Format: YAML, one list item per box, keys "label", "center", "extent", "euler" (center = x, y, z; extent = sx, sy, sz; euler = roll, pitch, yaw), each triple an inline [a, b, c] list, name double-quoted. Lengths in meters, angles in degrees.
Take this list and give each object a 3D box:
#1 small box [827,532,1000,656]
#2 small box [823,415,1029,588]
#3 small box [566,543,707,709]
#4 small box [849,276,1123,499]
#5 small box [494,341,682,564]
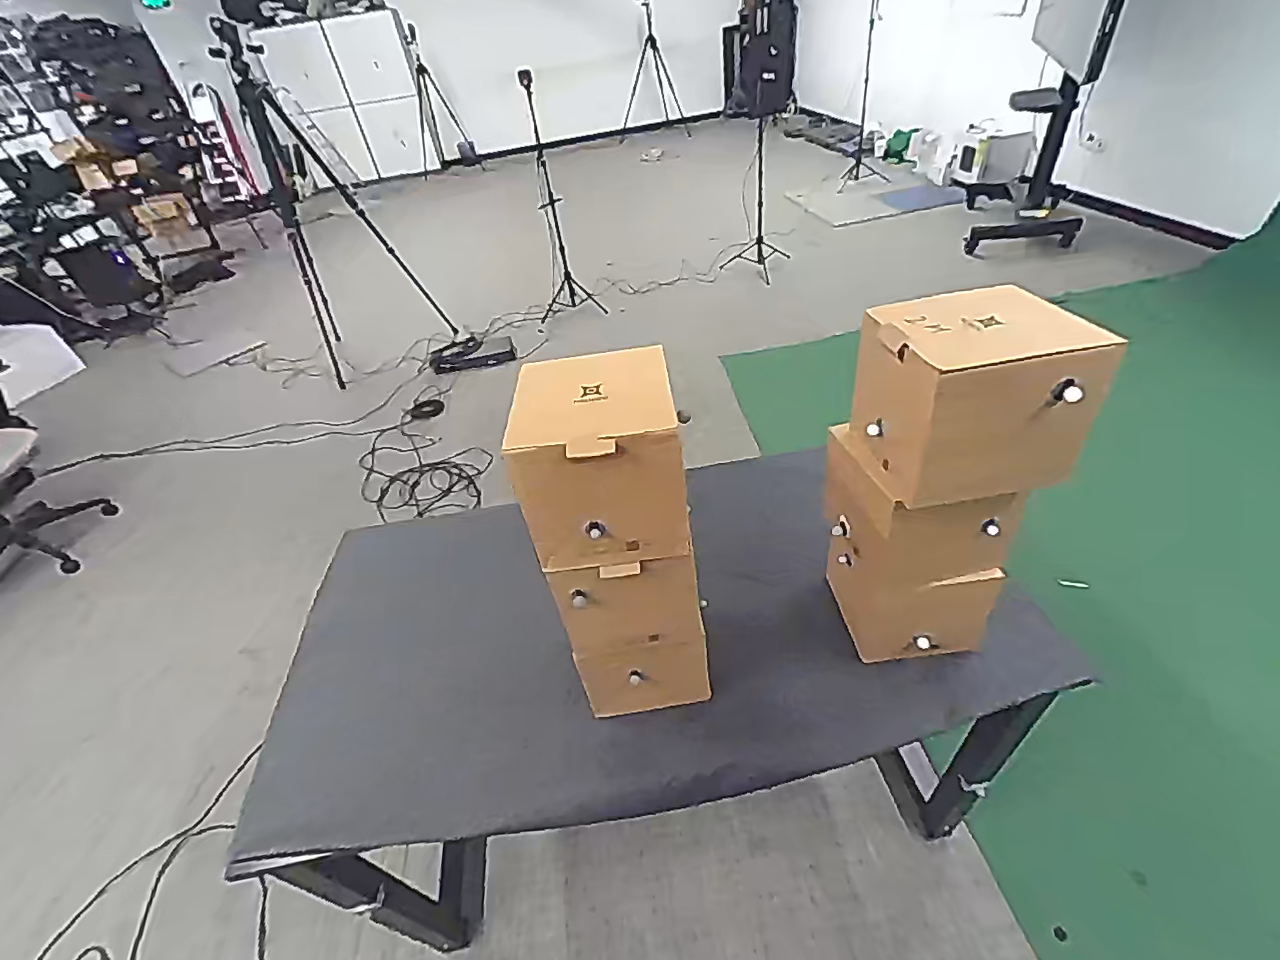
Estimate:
- label: "small box"
  center: [0.391, 0.137, 0.814]
  extent: [0.168, 0.176, 0.179]
  euler: [-8, 39, 3]
- label: "small box"
  center: [0.357, 0.015, 0.712]
  extent: [0.179, 0.176, 0.168]
  euler: [-14, 38, -2]
- label: "small box"
  center: [-0.005, 0.218, 0.806]
  extent: [0.179, 0.176, 0.168]
  euler: [-10, 40, 0]
- label: "small box"
  center: [0.350, -0.101, 0.592]
  extent: [0.179, 0.176, 0.168]
  euler: [-10, 37, 1]
- label: "small box"
  center: [-0.047, -0.032, 0.598]
  extent: [0.168, 0.176, 0.179]
  euler: [-8, 39, 2]
